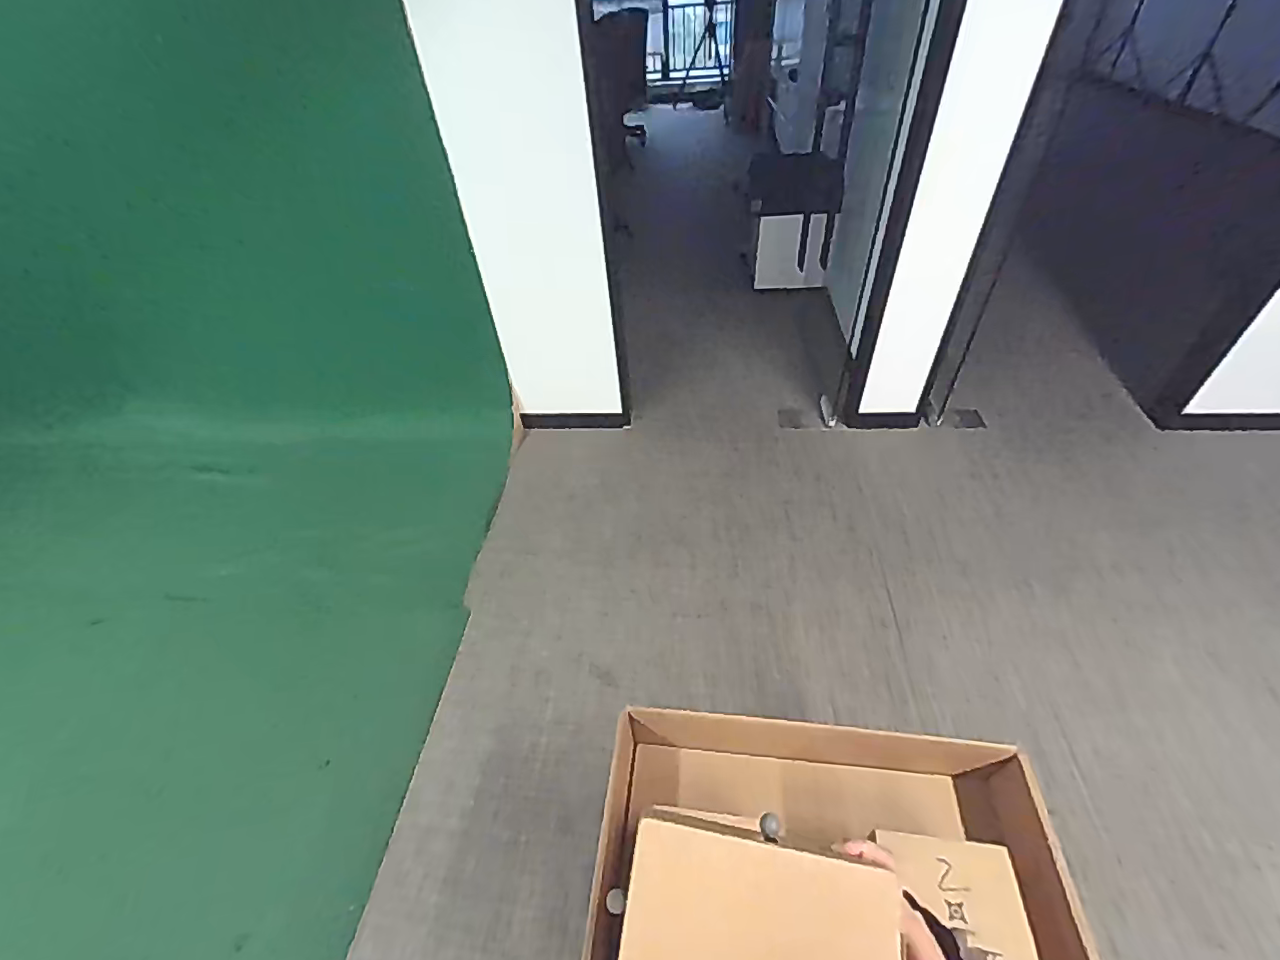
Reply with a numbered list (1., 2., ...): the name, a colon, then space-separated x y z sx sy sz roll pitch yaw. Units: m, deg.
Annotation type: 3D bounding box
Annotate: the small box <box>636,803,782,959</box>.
1. small box: 0.098 0.575 0.751 0.179 0.176 0.168 4 46 9
